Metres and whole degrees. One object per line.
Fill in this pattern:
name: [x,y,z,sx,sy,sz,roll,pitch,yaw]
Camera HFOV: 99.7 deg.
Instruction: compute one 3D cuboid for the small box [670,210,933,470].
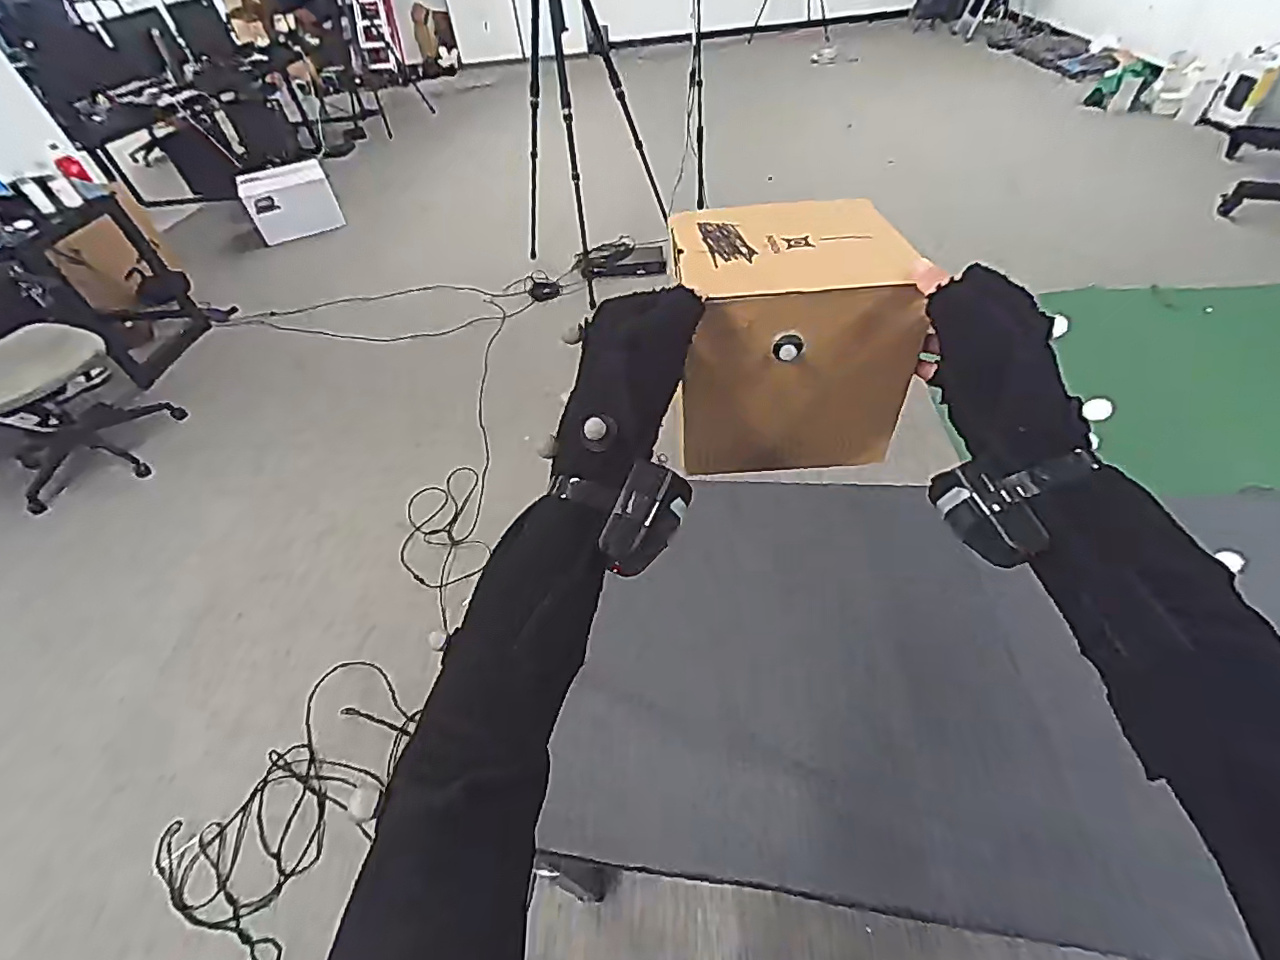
small box: [0.121,-0.123,0.487,0.179,0.176,0.168,-3,44,1]
